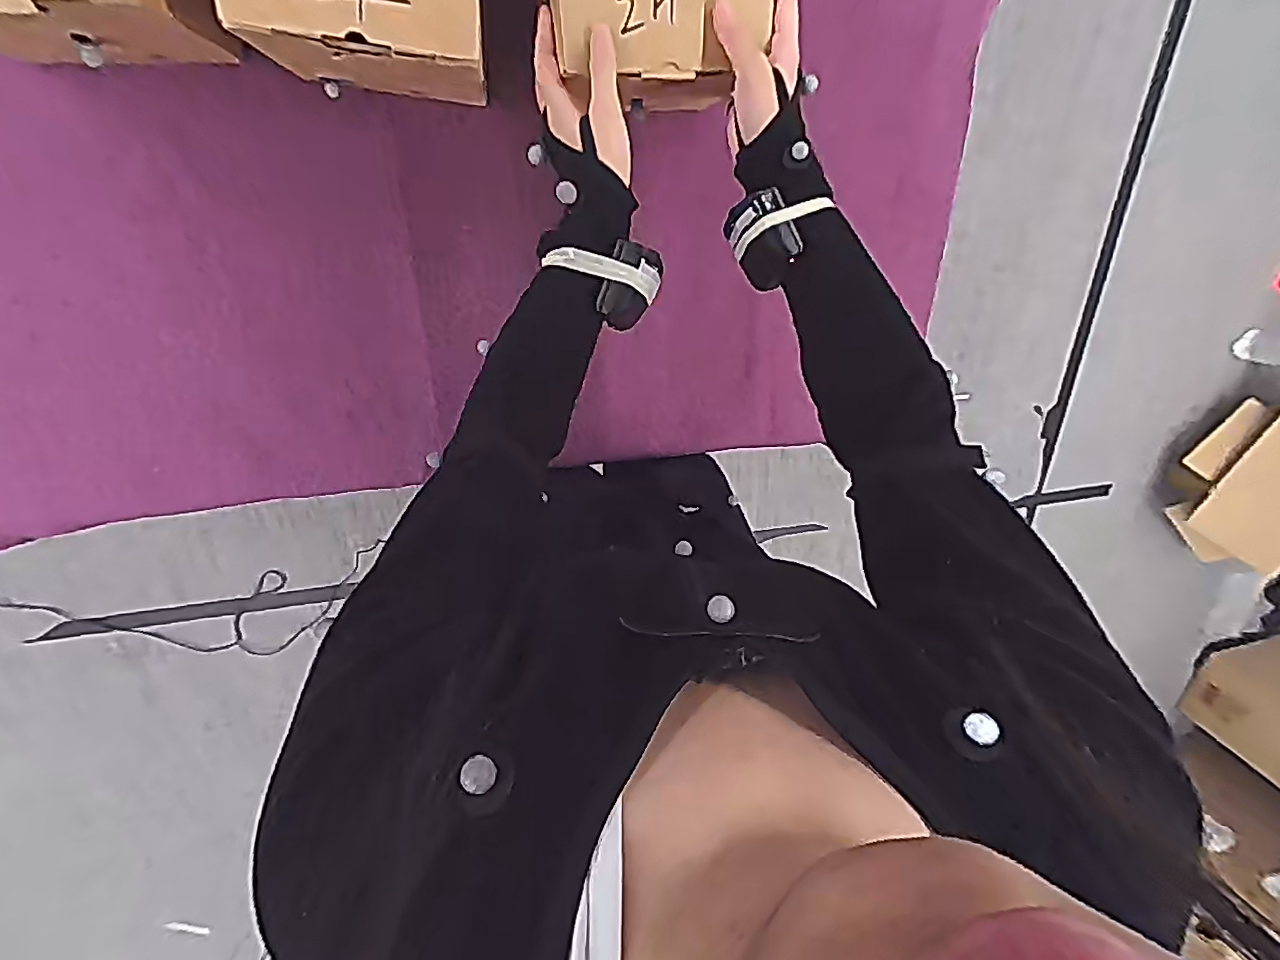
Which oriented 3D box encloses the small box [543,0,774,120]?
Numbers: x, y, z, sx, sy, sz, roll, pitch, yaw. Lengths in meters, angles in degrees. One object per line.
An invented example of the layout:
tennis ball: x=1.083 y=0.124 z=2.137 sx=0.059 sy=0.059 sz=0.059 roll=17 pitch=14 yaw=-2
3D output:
small box: x=0.005 y=-0.422 z=0.455 sx=0.168 sy=0.176 sz=0.179 roll=-7 pitch=117 yaw=-10
